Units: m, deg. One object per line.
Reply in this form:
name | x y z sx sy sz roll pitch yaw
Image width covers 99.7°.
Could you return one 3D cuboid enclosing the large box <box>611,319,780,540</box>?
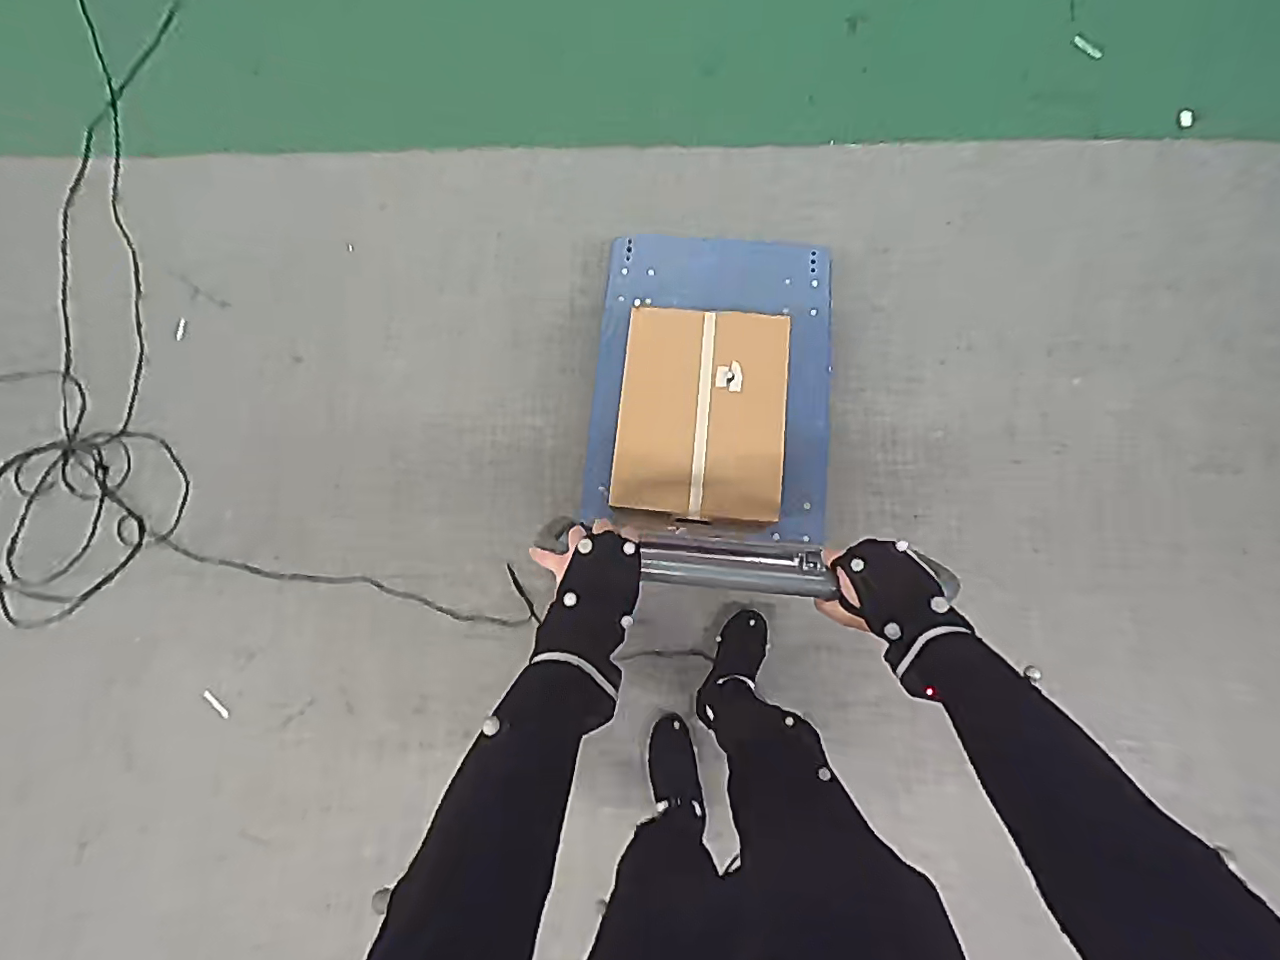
large box | 0.120 -0.091 1.192 0.320 0.320 0.408 5 77 3
